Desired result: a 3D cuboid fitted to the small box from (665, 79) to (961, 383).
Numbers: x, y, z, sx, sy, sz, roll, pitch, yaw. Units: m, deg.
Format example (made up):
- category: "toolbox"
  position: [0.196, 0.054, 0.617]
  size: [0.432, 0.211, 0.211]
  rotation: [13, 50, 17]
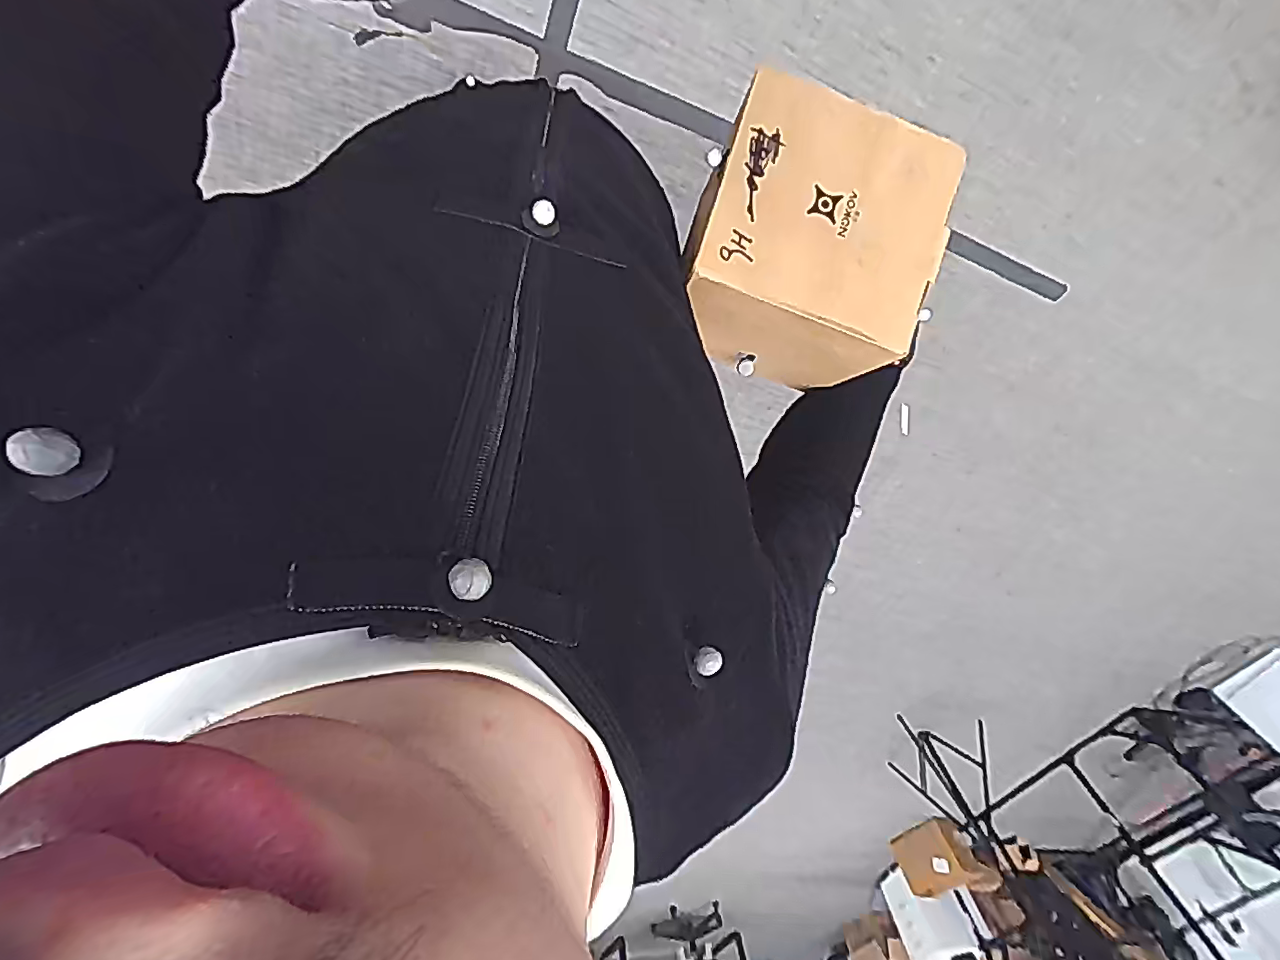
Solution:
- category: "small box"
  position: [0.138, -0.199, 0.493]
  size: [0.179, 0.176, 0.168]
  rotation: [19, 86, -7]
